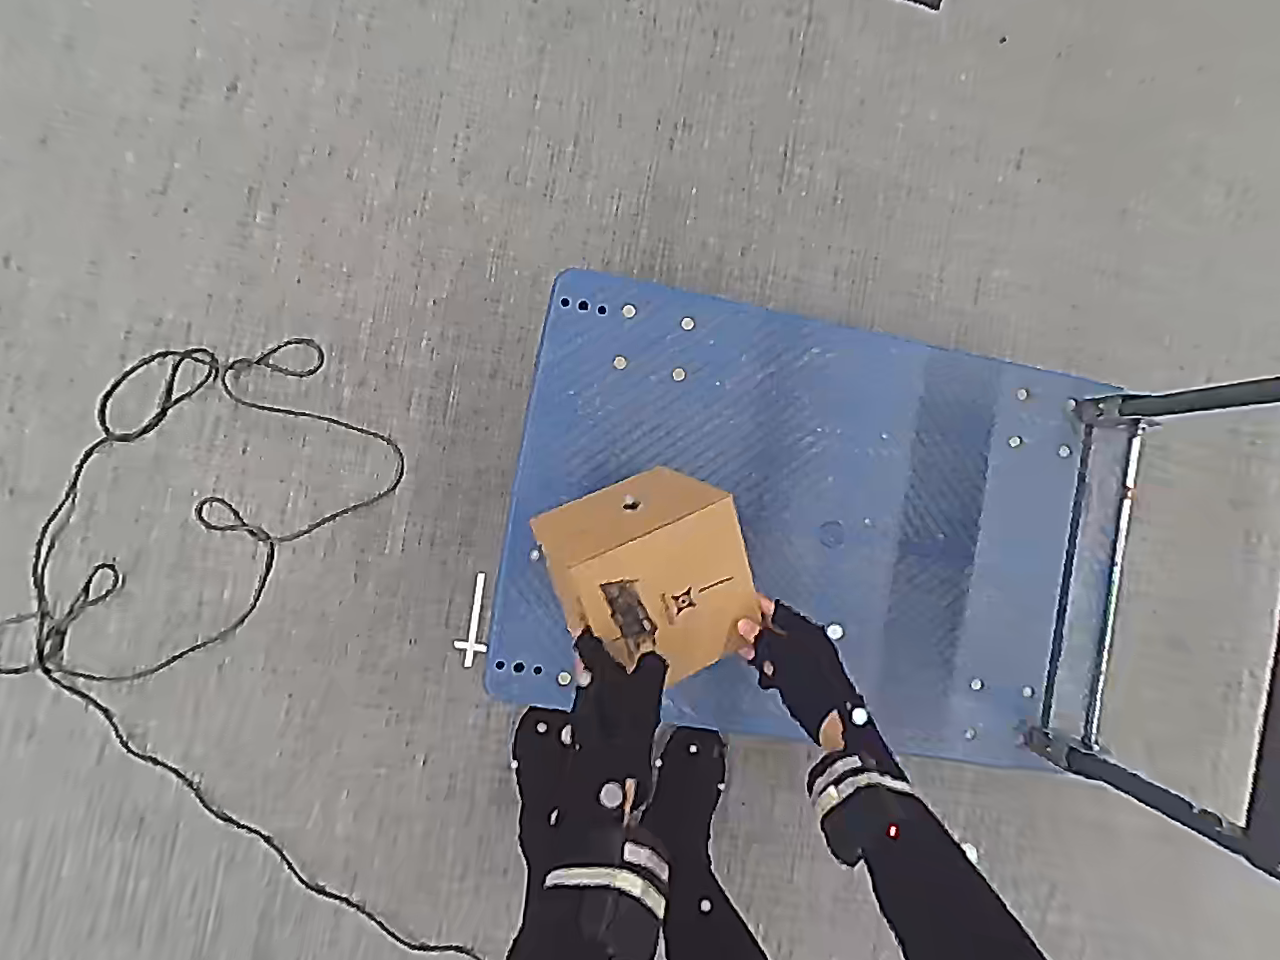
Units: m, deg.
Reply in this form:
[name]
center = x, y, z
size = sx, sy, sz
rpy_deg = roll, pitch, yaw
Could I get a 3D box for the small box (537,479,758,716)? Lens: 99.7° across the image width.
[small box]
center = -0.003, 0.112, 0.595
size = 0.179, 0.176, 0.168
rpy_deg = -22, 108, -18
